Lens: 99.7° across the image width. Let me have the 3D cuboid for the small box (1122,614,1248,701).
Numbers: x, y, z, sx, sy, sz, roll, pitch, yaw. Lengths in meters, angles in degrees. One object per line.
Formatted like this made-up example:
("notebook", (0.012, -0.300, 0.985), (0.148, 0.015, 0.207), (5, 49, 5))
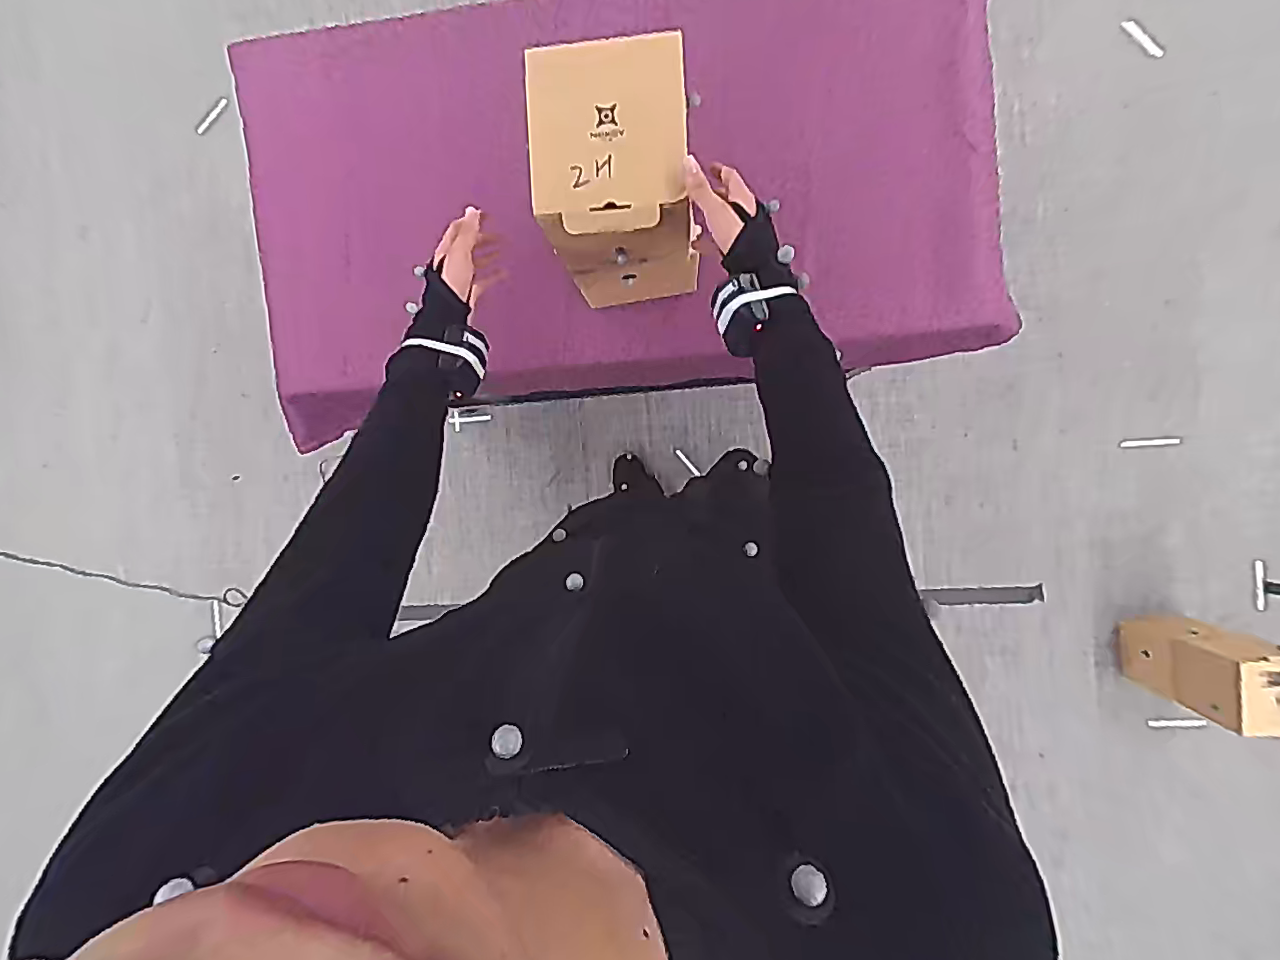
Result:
("small box", (1.438, 0.468, 1.443), (0.179, 0.176, 0.168), (-8, 92, 5))

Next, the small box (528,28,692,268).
("small box", (-0.026, -0.368, 0.631), (0.168, 0.176, 0.179), (-2, 92, 6))

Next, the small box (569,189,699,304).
("small box", (-0.010, -0.372, 0.795), (0.179, 0.176, 0.168), (-8, 92, 5))
